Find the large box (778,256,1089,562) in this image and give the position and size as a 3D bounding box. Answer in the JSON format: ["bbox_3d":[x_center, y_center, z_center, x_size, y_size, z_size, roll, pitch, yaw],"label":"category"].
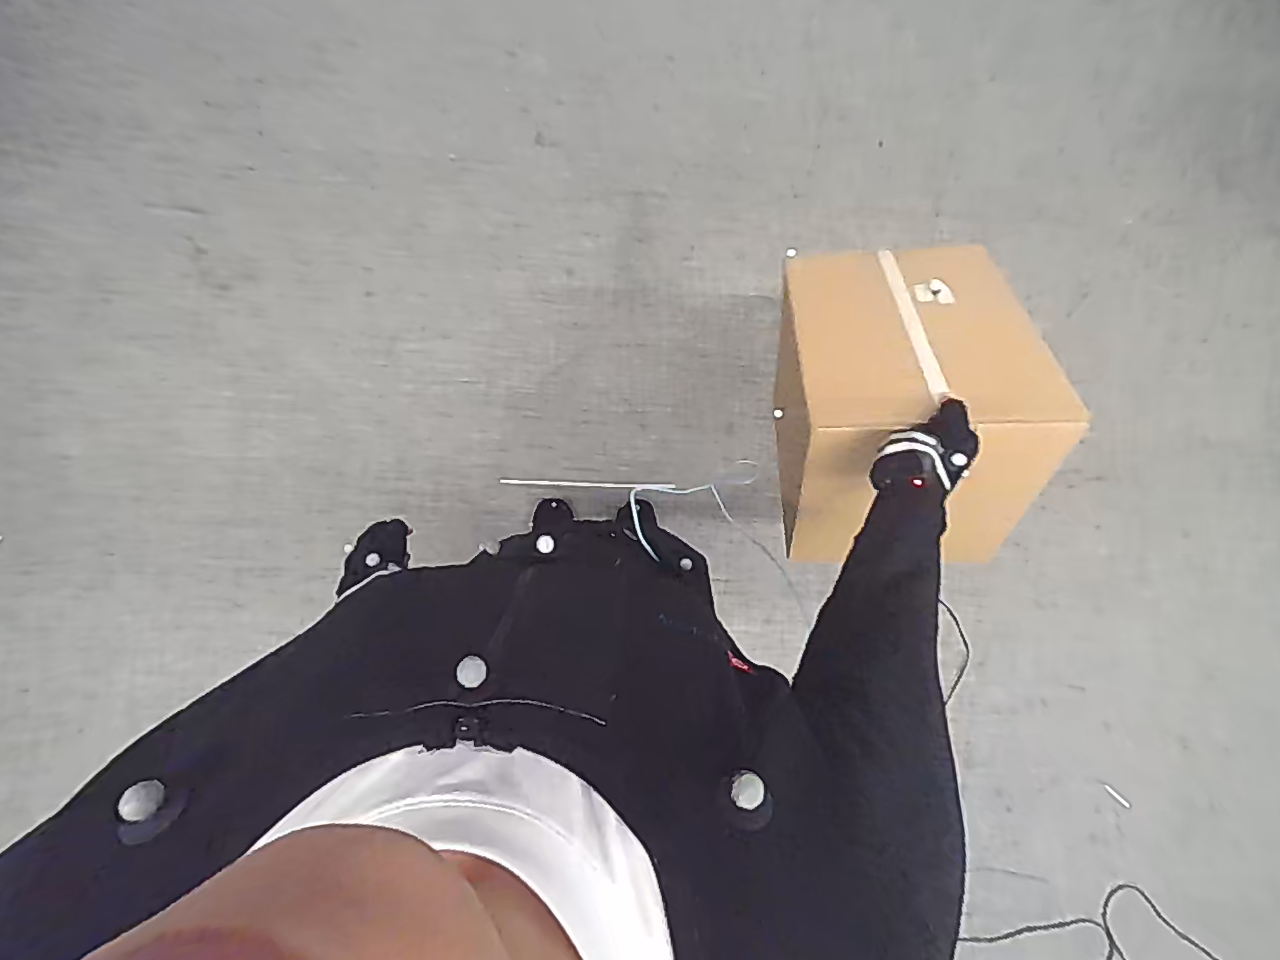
[{"bbox_3d":[0.404,-0.113,0.881,0.320,0.320,0.408,1,50,8],"label":"large box"}]
